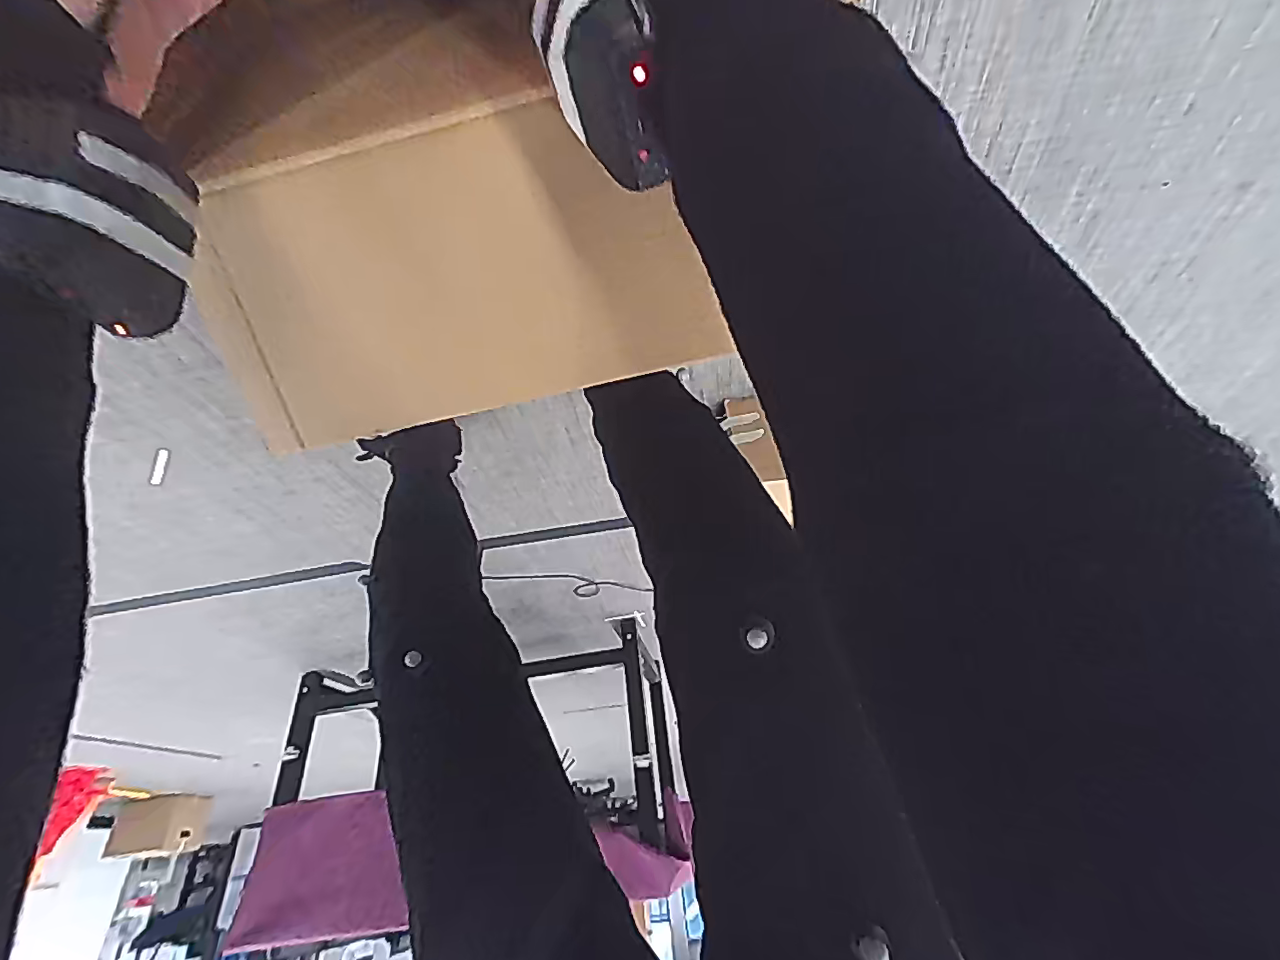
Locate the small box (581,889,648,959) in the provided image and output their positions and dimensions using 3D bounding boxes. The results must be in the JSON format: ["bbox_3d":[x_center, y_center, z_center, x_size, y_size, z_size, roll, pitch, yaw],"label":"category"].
[{"bbox_3d":[-0.071,1.271,1.522,0.168,0.176,0.179,-6,146,1],"label":"small box"}]
